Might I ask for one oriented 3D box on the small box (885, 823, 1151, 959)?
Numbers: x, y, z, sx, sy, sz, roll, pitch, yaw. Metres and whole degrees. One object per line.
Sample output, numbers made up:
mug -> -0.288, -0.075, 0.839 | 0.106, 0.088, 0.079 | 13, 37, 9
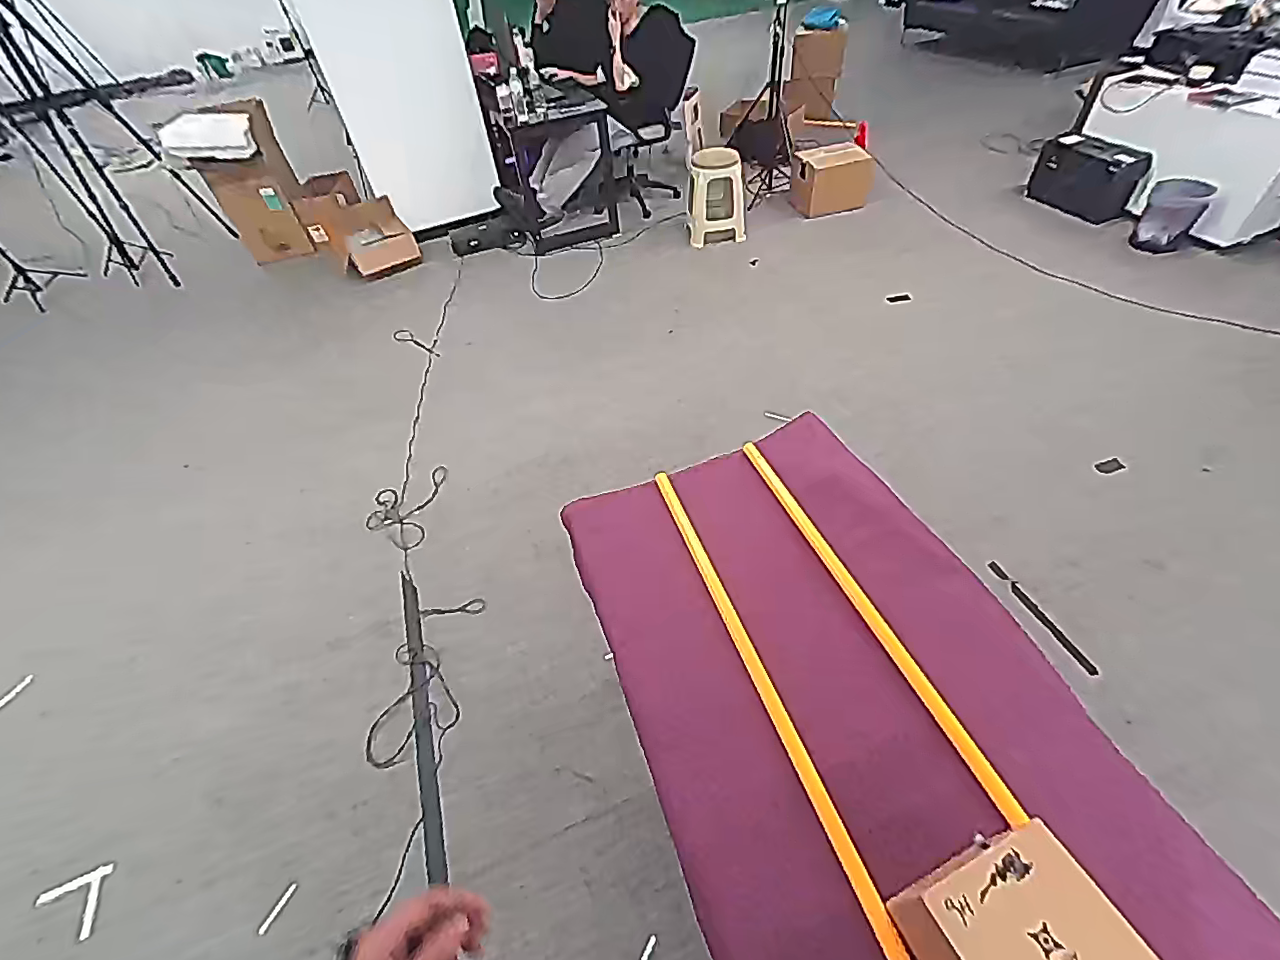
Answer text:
small box -> 0.401, 0.508, 0.579 | 0.168, 0.176, 0.179 | -21, 50, -12
